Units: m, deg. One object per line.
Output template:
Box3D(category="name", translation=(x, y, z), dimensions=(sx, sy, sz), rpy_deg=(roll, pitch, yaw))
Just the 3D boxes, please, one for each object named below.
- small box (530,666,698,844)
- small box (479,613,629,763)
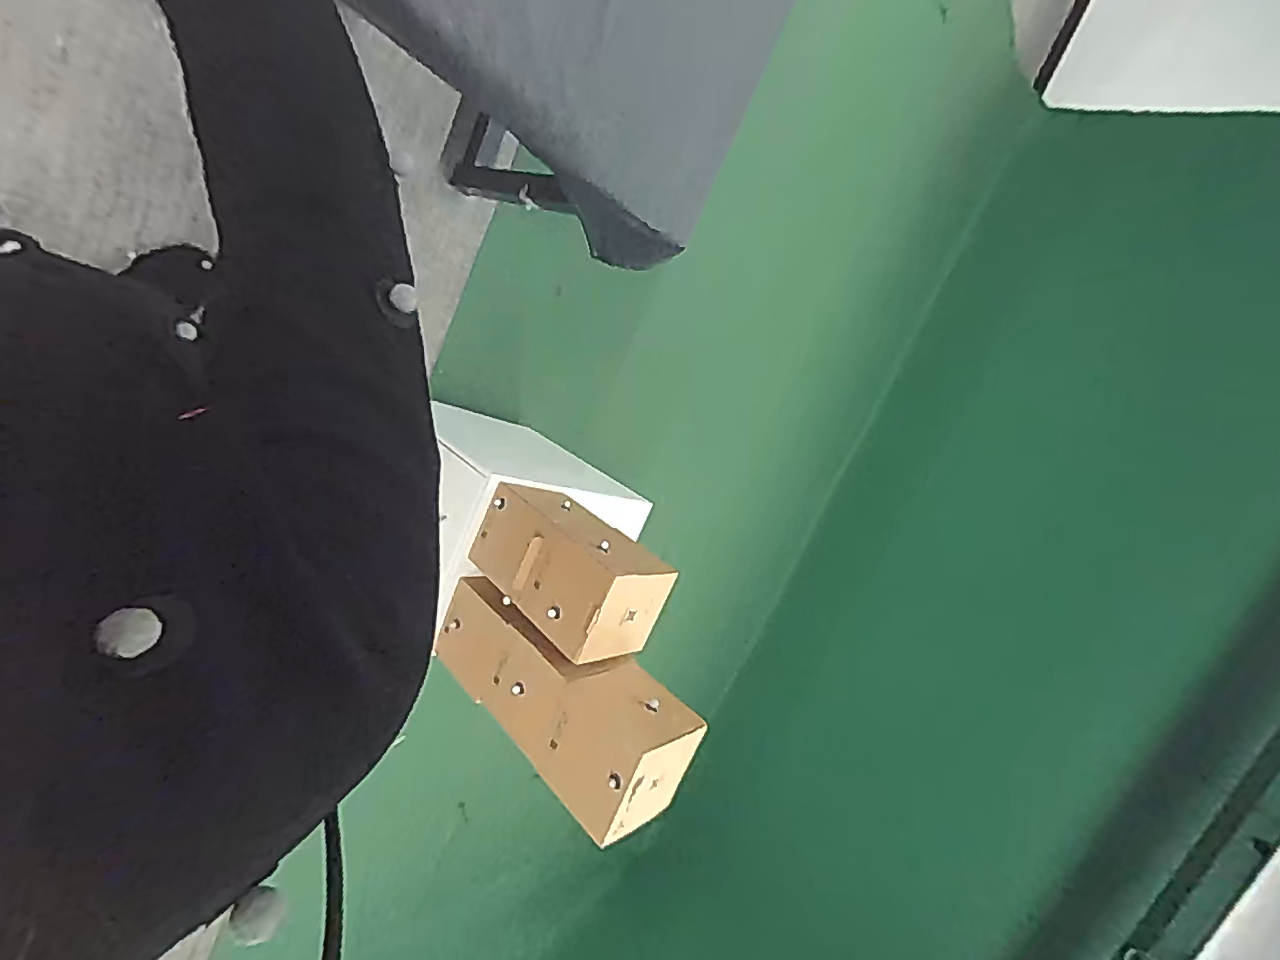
Box3D(category="small box", translation=(-0.042, 0.425, 0.873), dimensions=(0.179, 0.176, 0.168), rpy_deg=(10, 105, -54))
Box3D(category="small box", translation=(-0.158, 0.359, 0.968), dimensions=(0.179, 0.176, 0.168), rpy_deg=(7, 108, -52))
